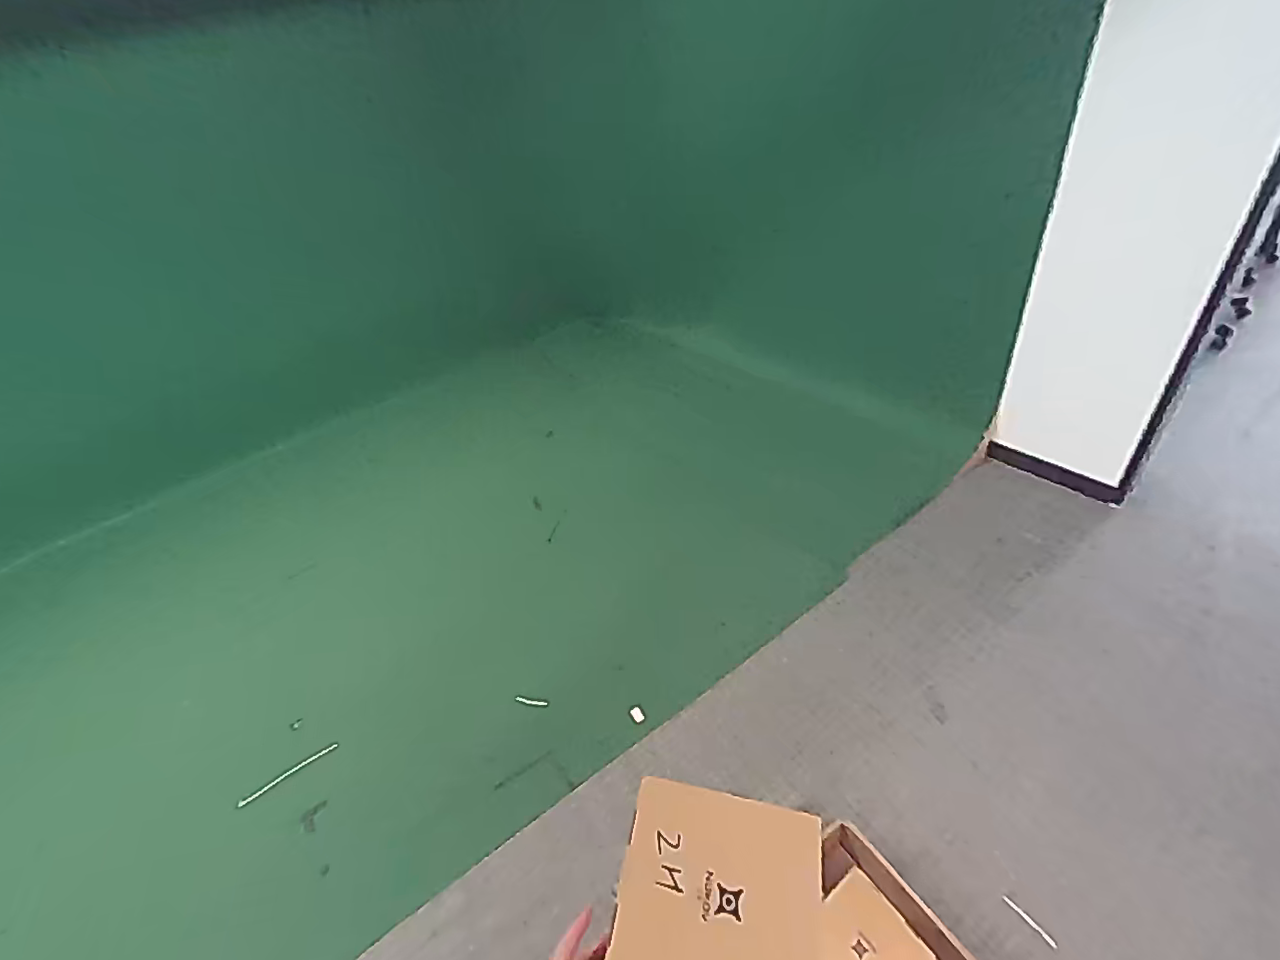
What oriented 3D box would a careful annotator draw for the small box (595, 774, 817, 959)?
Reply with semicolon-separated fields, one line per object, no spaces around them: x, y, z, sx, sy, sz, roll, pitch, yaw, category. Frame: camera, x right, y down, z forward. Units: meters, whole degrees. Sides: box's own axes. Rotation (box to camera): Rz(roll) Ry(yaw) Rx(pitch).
0.064;0.415;0.520;0.179;0.176;0.168;8;45;11;small box

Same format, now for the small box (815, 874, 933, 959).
0.394;0.868;0.970;0.179;0.176;0.168;-30;43;-20;small box
